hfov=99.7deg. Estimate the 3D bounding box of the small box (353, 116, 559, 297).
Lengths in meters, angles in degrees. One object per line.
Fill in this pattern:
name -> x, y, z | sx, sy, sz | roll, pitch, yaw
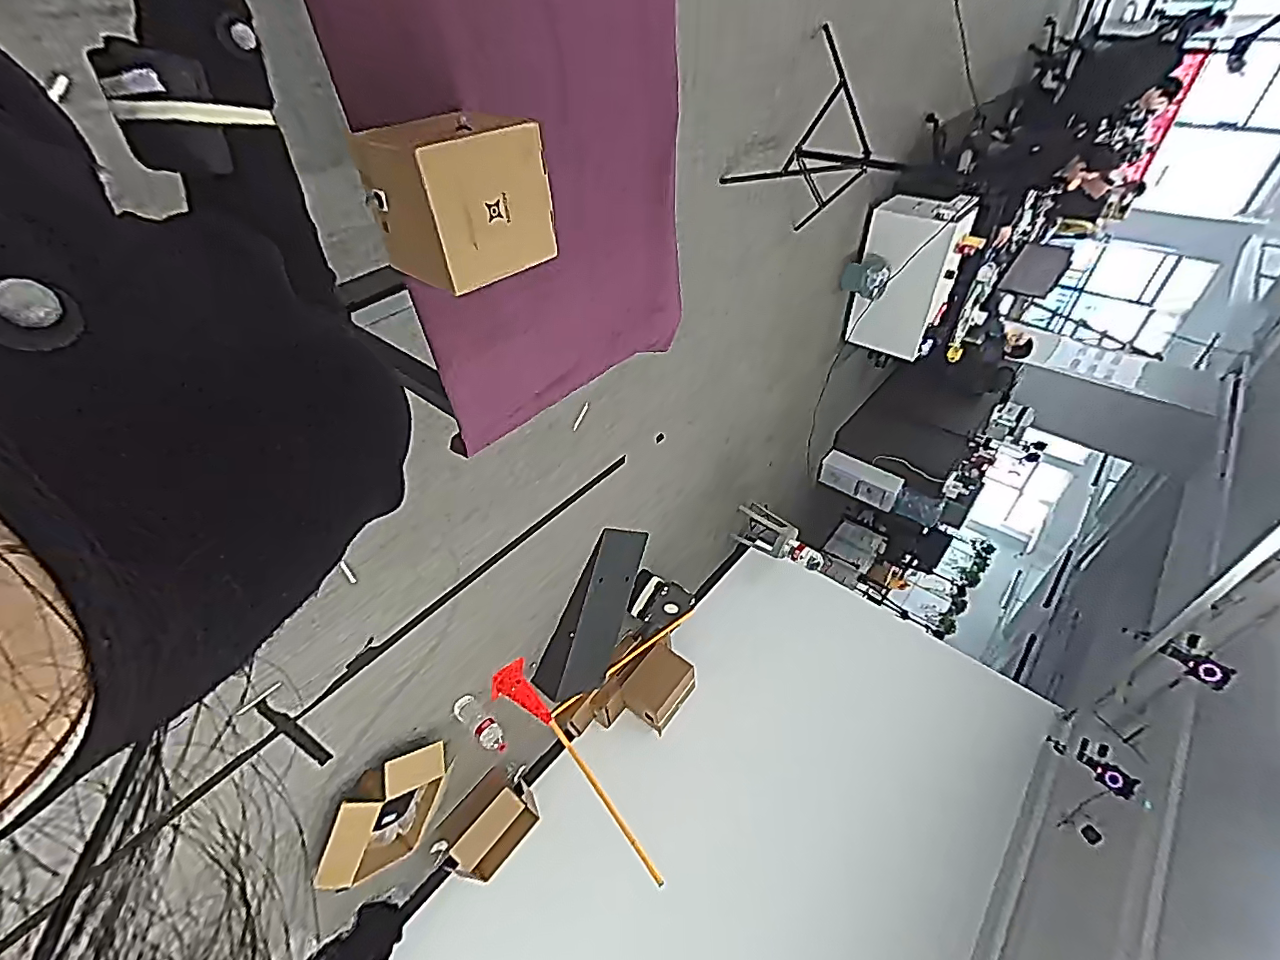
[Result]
small box -> -0.236, -0.370, 0.718 | 0.179, 0.176, 0.168 | -38, 142, -31
